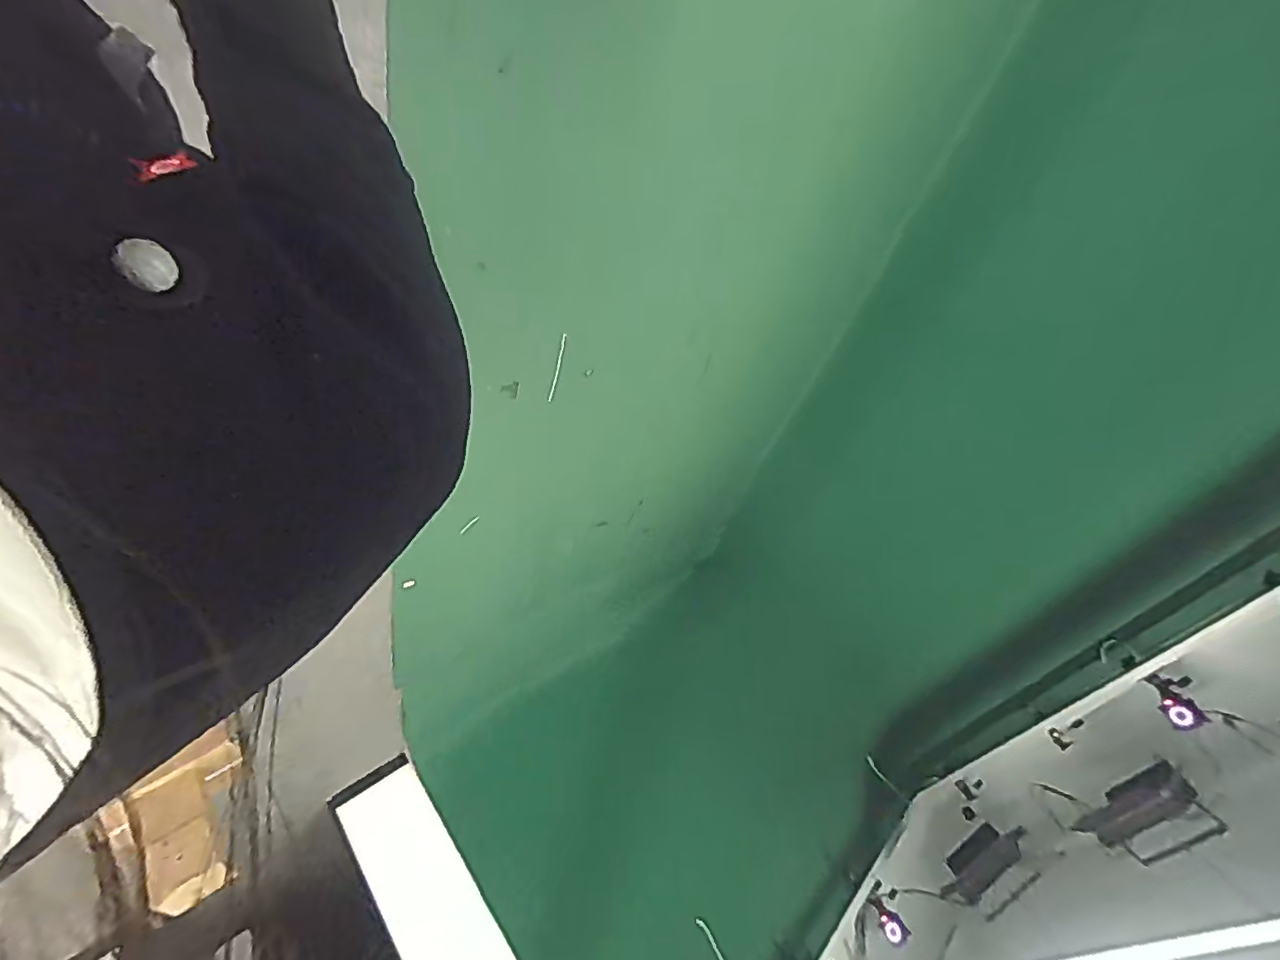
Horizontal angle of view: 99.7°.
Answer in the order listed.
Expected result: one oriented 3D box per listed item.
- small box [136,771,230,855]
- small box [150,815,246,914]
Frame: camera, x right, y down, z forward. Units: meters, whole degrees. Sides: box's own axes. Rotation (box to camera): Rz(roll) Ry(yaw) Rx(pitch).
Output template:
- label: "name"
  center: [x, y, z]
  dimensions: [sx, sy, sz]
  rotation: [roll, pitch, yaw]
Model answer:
- label: "small box"
  center: [-1.467, 1.077, 1.736]
  dimensions: [0.179, 0.176, 0.168]
  rotation: [-25, 146, -35]
- label: "small box"
  center: [-1.358, 1.175, 1.663]
  dimensions: [0.168, 0.176, 0.179]
  rotation: [-27, 146, -35]
